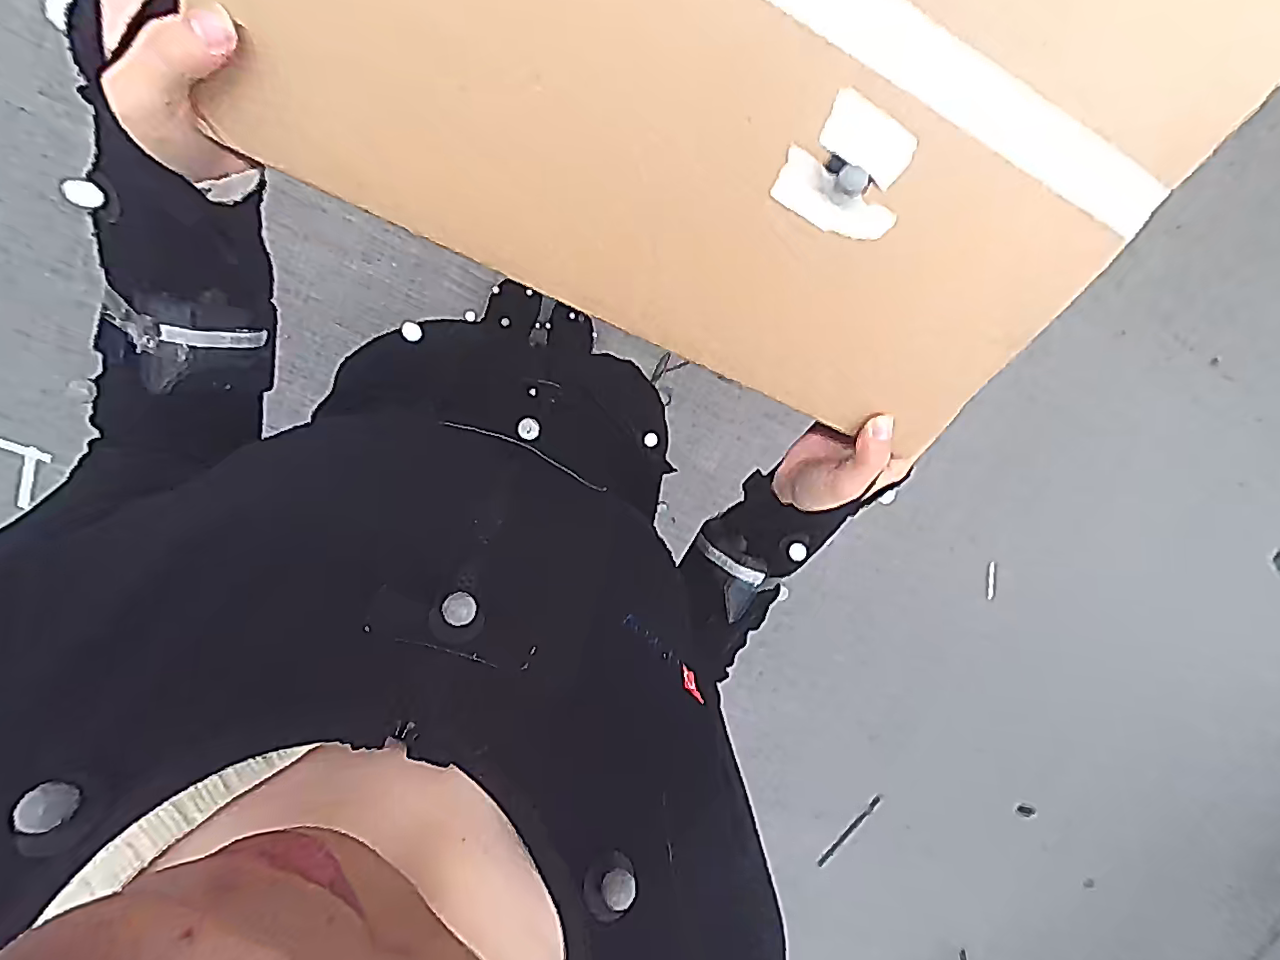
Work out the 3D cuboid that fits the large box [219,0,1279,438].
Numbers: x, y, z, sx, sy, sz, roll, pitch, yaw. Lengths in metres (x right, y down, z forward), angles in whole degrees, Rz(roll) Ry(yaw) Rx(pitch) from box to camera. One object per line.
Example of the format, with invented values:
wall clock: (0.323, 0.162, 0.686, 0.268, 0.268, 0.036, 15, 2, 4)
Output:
large box: (0.054, -0.289, 0.325, 0.408, 0.320, 0.320, 20, 127, -15)
